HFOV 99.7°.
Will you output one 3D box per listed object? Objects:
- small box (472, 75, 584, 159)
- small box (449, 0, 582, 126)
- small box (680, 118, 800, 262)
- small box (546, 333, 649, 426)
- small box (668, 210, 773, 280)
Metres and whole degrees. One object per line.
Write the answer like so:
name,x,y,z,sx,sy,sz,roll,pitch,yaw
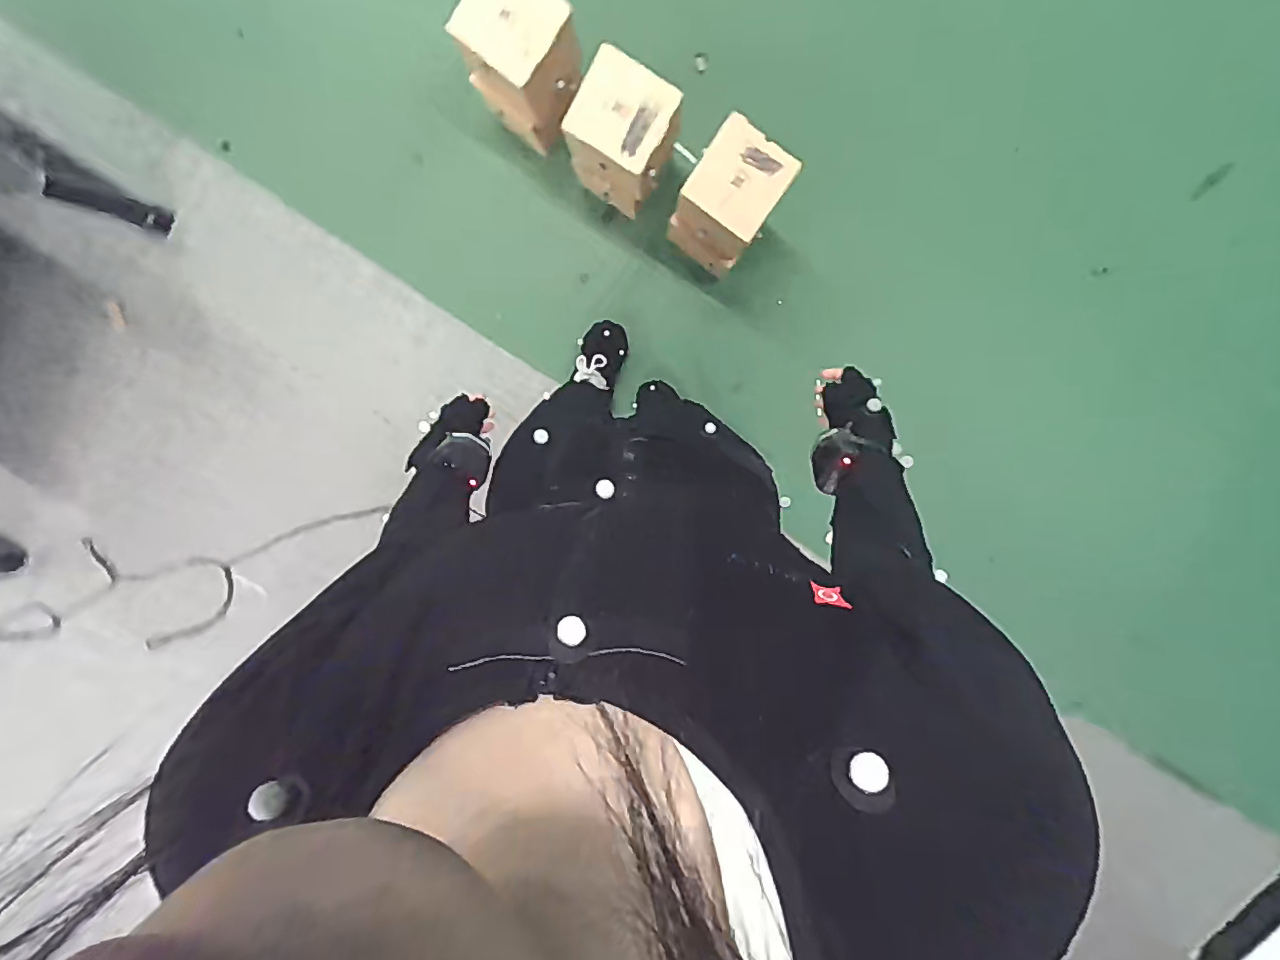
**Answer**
small box,-0.245,-0.883,1.235,0.168,0.176,0.179,39,99,-5
small box,-0.236,-0.855,1.072,0.179,0.176,0.168,38,99,-5
small box,0.193,-0.585,1.115,0.168,0.176,0.179,35,100,-6
small box,-0.110,-0.250,1.357,0.168,0.176,0.179,-32,84,24
small box,0.184,-0.596,1.280,0.179,0.176,0.168,37,99,-5
